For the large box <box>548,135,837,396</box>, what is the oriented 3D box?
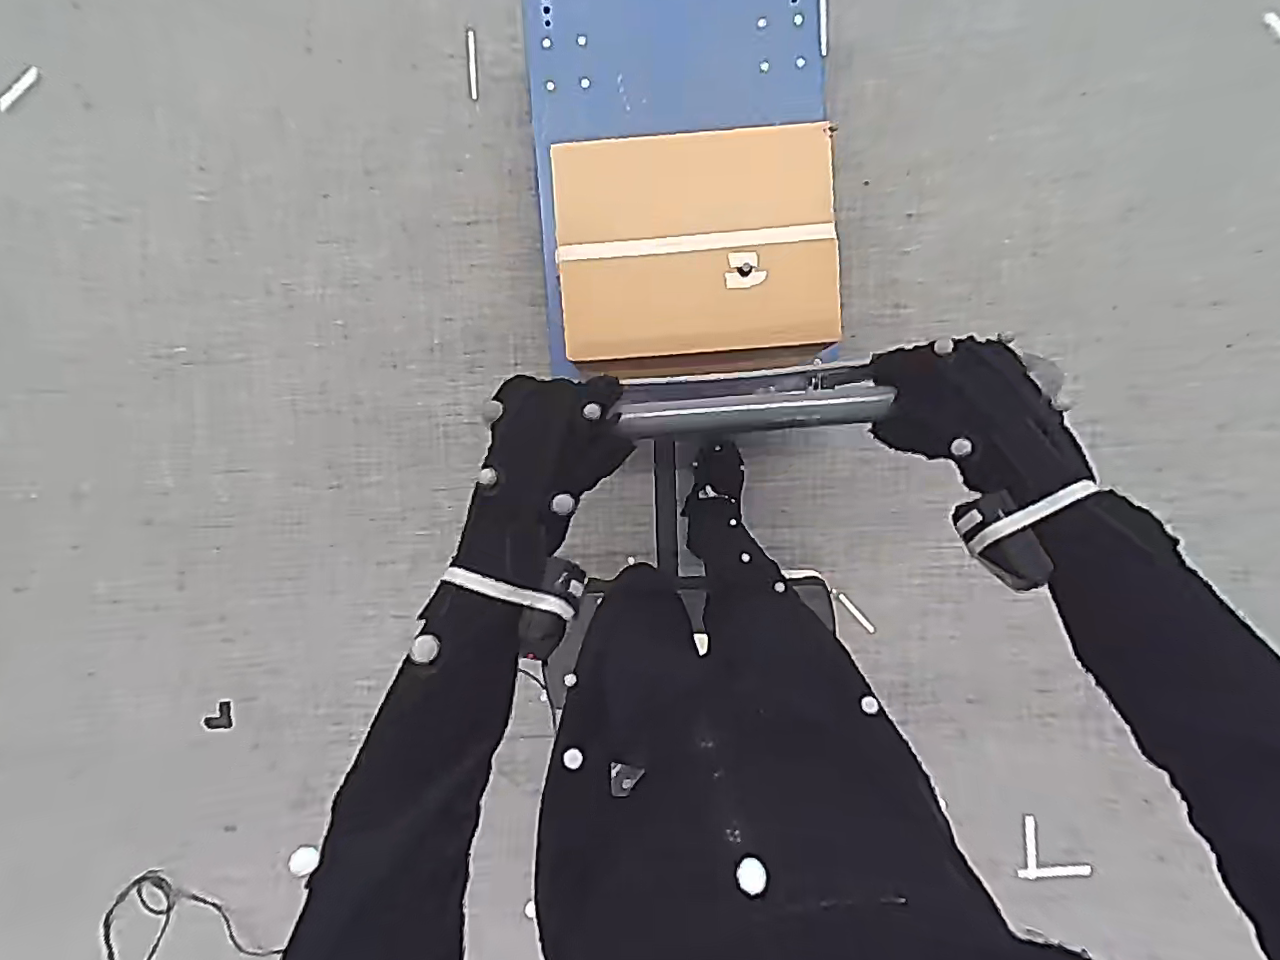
[{"bbox_3d":[0.077,-0.331,0.929,0.408,0.320,0.320,-4,93,0],"label":"large box"}]
